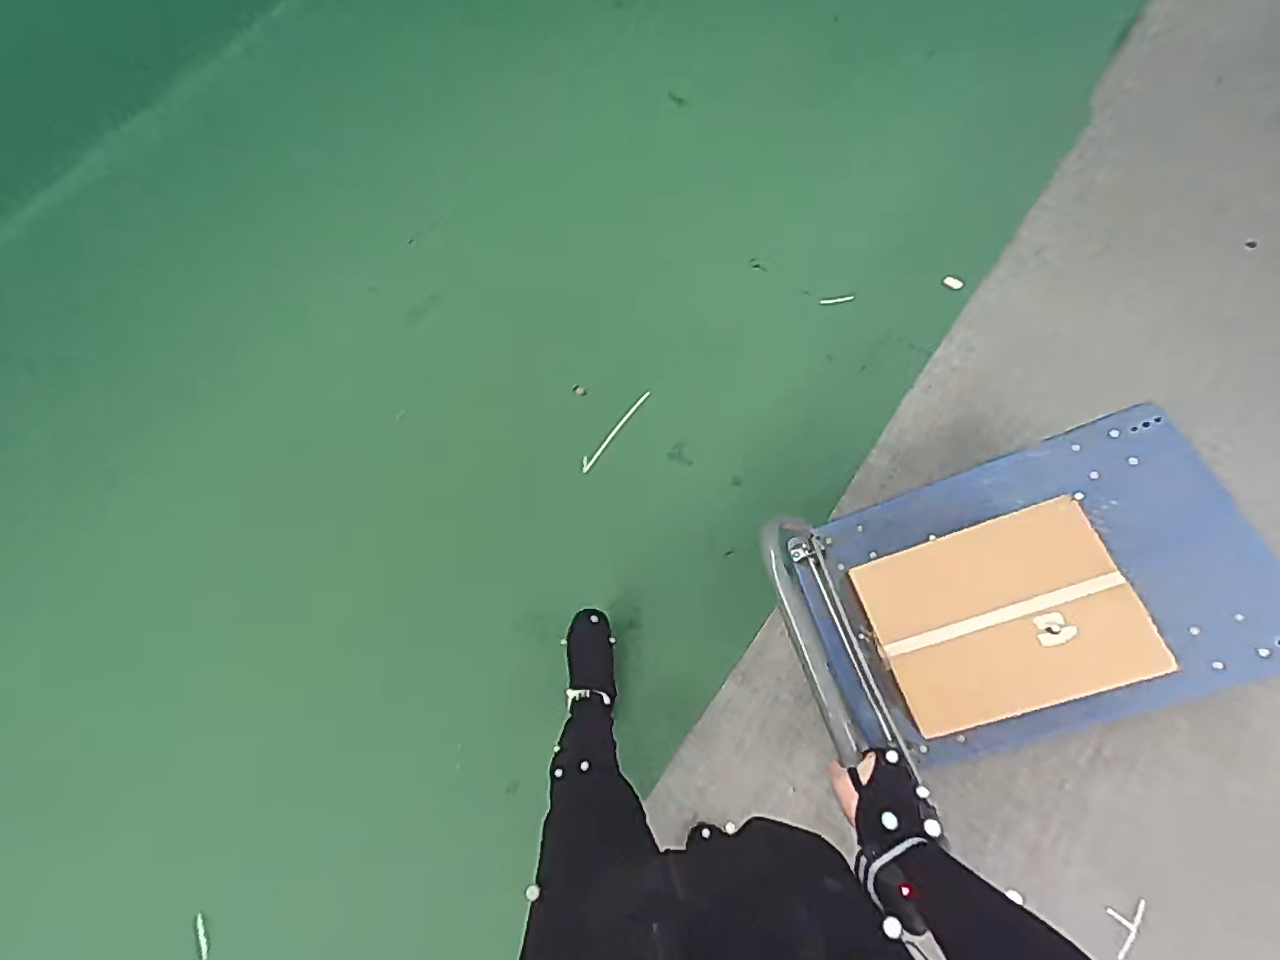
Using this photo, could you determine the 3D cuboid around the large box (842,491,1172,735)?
[{"bbox_3d":[0.667,0.267,1.081,0.408,0.320,0.320,-23,71,11],"label":"large box"}]
